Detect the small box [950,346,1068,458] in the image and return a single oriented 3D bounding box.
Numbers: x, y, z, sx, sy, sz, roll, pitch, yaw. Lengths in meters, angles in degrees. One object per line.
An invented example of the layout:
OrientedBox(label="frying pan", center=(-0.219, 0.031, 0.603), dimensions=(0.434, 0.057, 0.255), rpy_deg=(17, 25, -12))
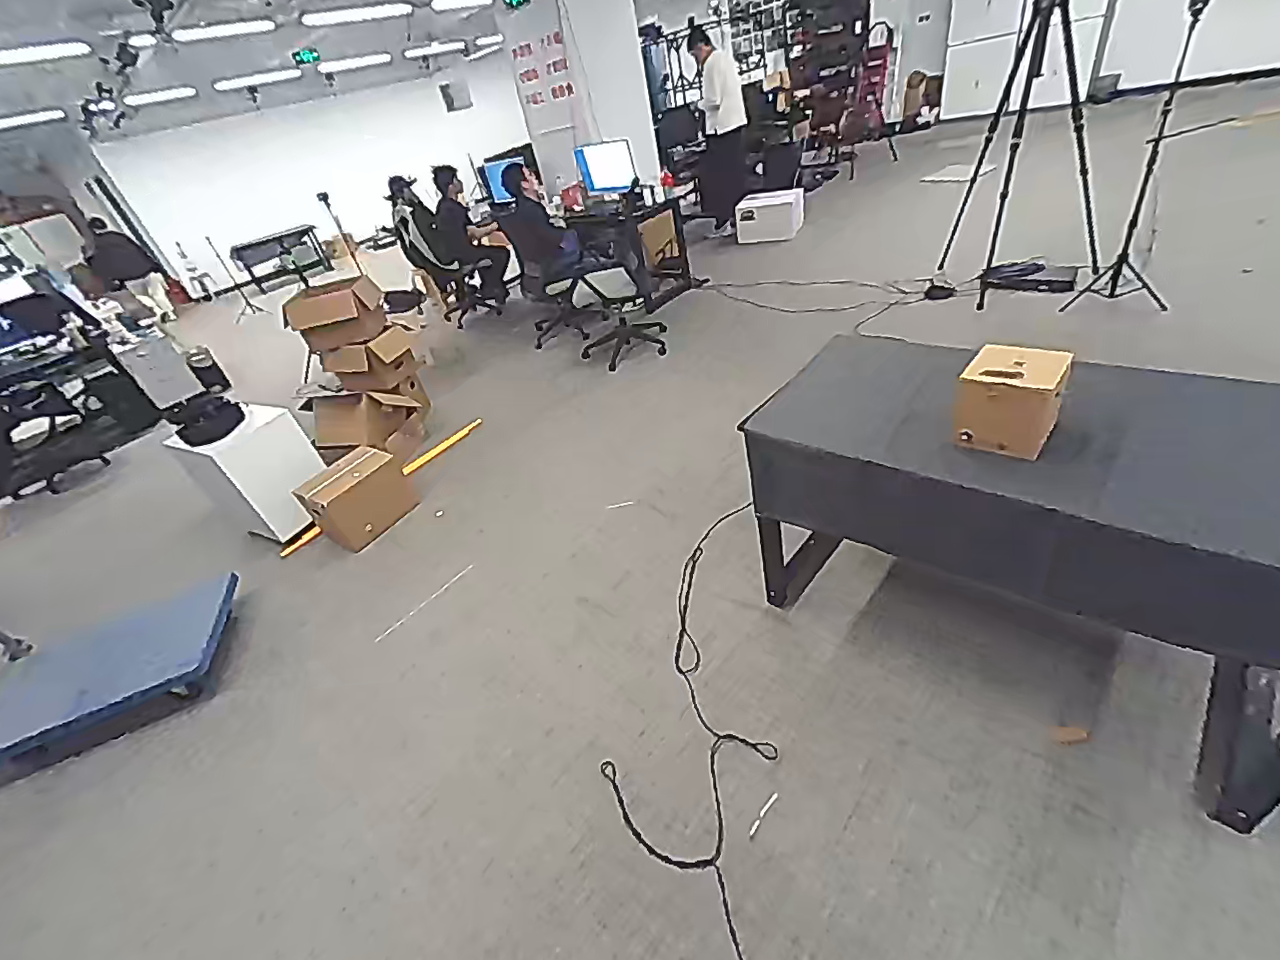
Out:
OrientedBox(label="small box", center=(0.795, -0.171, 1.176), dimensions=(0.168, 0.176, 0.179), rpy_deg=(21, 48, 39))
